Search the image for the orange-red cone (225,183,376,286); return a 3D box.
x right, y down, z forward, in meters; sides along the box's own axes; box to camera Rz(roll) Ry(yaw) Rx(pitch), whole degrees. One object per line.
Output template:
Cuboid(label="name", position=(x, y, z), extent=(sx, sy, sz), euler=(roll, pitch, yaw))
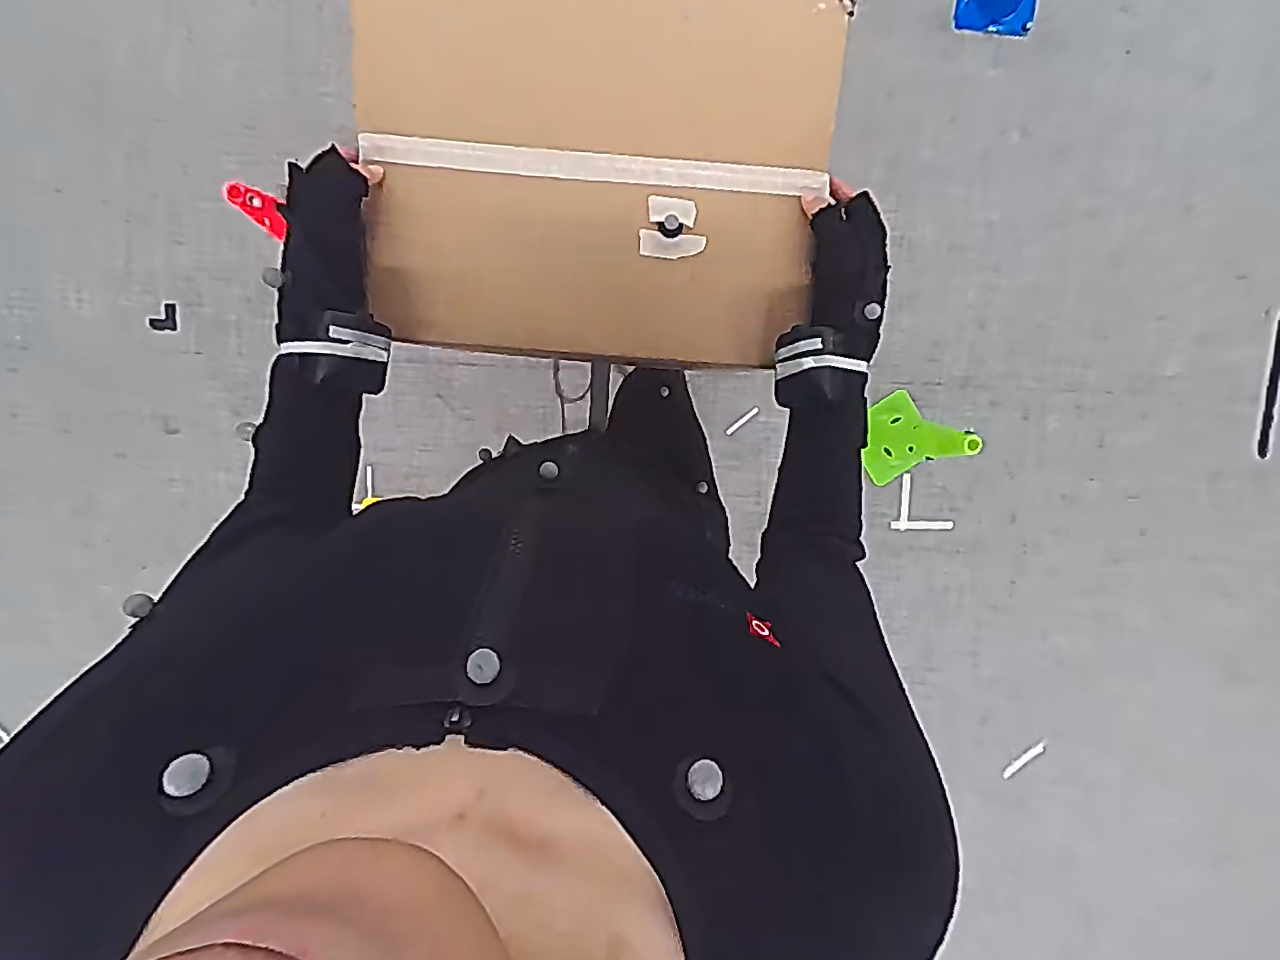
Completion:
Cuboid(label="orange-red cone", position=(-0.770, -0.568, 1.200), extent=(0.198, 0.360, 0.199), euler=(0, 99, 0))

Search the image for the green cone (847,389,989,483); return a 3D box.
Cuboid(label="green cone", position=(0.691, -0.098, 1.293), extent=(0.202, 0.368, 0.200), euler=(-35, 97, 2))

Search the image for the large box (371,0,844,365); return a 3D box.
Cuboid(label="large box", position=(-0.040, -0.304, 0.621), extent=(0.408, 0.320, 0.320), euler=(4, 101, -3))

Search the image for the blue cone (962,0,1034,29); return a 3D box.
Cuboid(label="blue cone", position=(0.903, -1.203, 1.173), extent=(0.192, 0.380, 0.193), euler=(6, 97, -3))
